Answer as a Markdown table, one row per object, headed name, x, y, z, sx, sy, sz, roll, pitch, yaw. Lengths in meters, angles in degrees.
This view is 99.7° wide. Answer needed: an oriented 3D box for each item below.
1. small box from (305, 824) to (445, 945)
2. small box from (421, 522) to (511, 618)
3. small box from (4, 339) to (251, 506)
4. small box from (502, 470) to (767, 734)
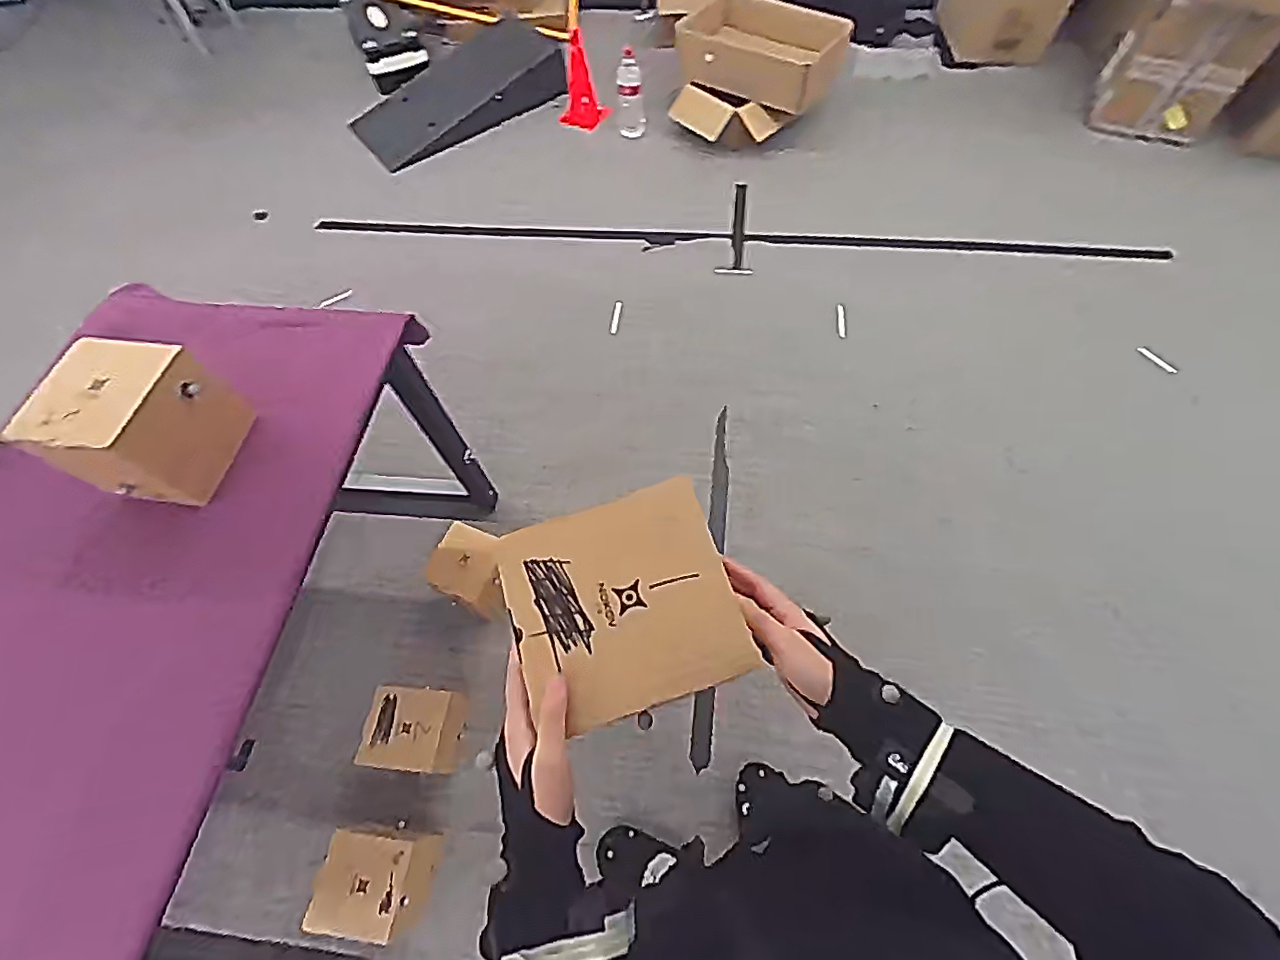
| name | x | y | z | sx | sy | sz | roll | pitch | yaw |
| --- | --- | --- | --- | --- | --- | --- | --- | --- | --- |
| small box | -0.540 | 0.831 | 1.130 | 0.179 | 0.176 | 0.168 | 6 | 62 | 7 |
| small box | -0.441 | 0.243 | 1.442 | 0.168 | 0.176 | 0.179 | 20 | 66 | 13 |
| small box | -0.729 | -0.081 | 0.800 | 0.168 | 0.176 | 0.179 | 6 | 63 | 7 |
| small box | -0.002 | 0.118 | 0.494 | 0.179 | 0.176 | 0.168 | -18 | 68 | -2 |
